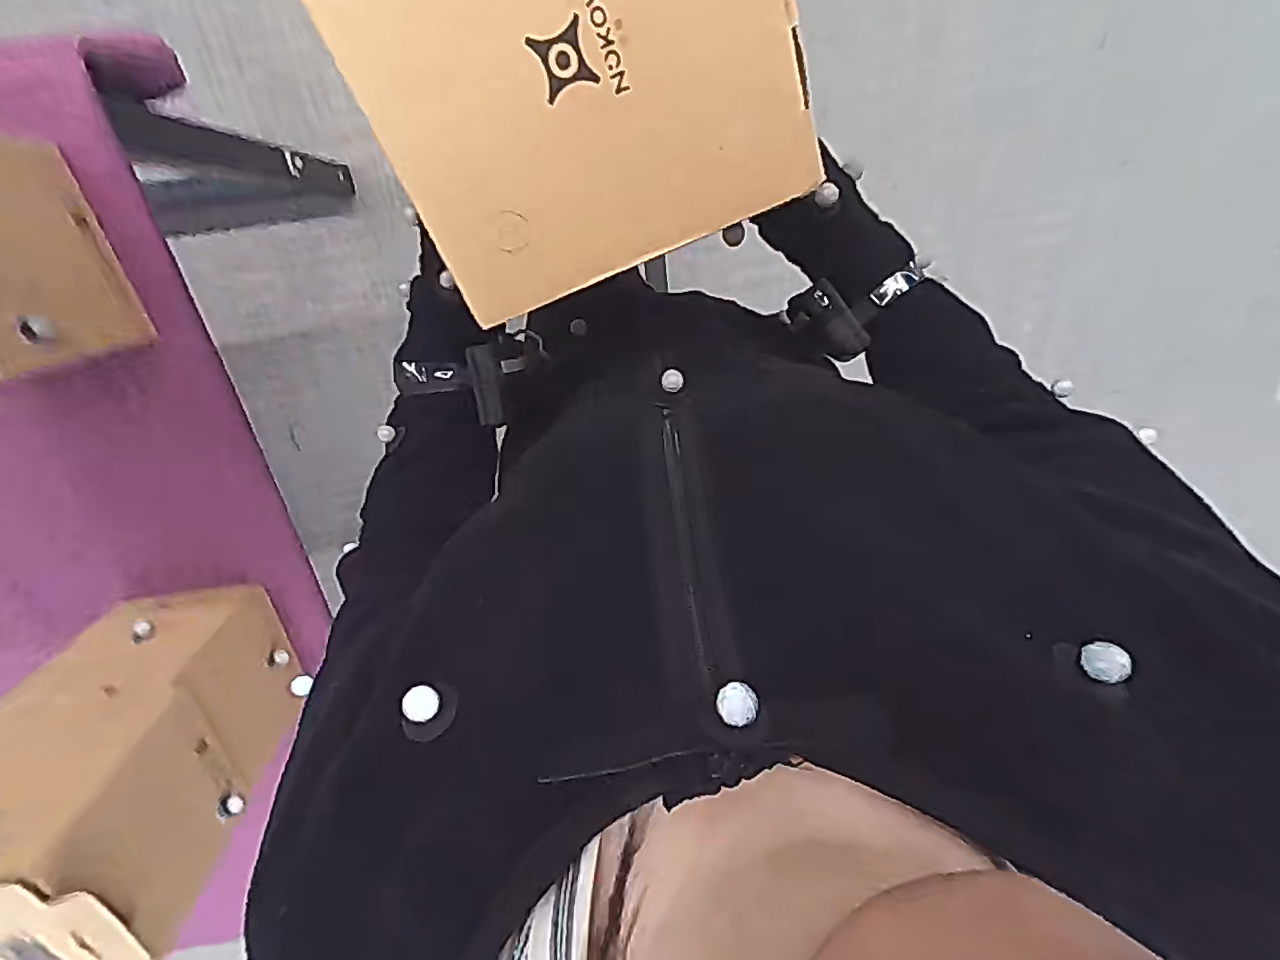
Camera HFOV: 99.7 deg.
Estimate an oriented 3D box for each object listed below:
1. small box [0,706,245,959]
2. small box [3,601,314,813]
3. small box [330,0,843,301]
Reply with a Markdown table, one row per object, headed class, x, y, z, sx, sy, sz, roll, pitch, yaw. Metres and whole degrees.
| class | x | y | z | sx | sy | sz | roll | pitch | yaw |
| --- | --- | --- | --- | --- | --- | --- | --- | --- | --- |
| small box | -0.480 | 0.317 | 0.457 | 0.179 | 0.176 | 0.168 | -7 | 115 | -4 |
| small box | -0.507 | 0.254 | 0.608 | 0.168 | 0.176 | 0.179 | -8 | 115 | -5 |
| small box | -0.026 | -0.215 | 0.276 | 0.179 | 0.176 | 0.168 | -21 | 120 | 6 |
